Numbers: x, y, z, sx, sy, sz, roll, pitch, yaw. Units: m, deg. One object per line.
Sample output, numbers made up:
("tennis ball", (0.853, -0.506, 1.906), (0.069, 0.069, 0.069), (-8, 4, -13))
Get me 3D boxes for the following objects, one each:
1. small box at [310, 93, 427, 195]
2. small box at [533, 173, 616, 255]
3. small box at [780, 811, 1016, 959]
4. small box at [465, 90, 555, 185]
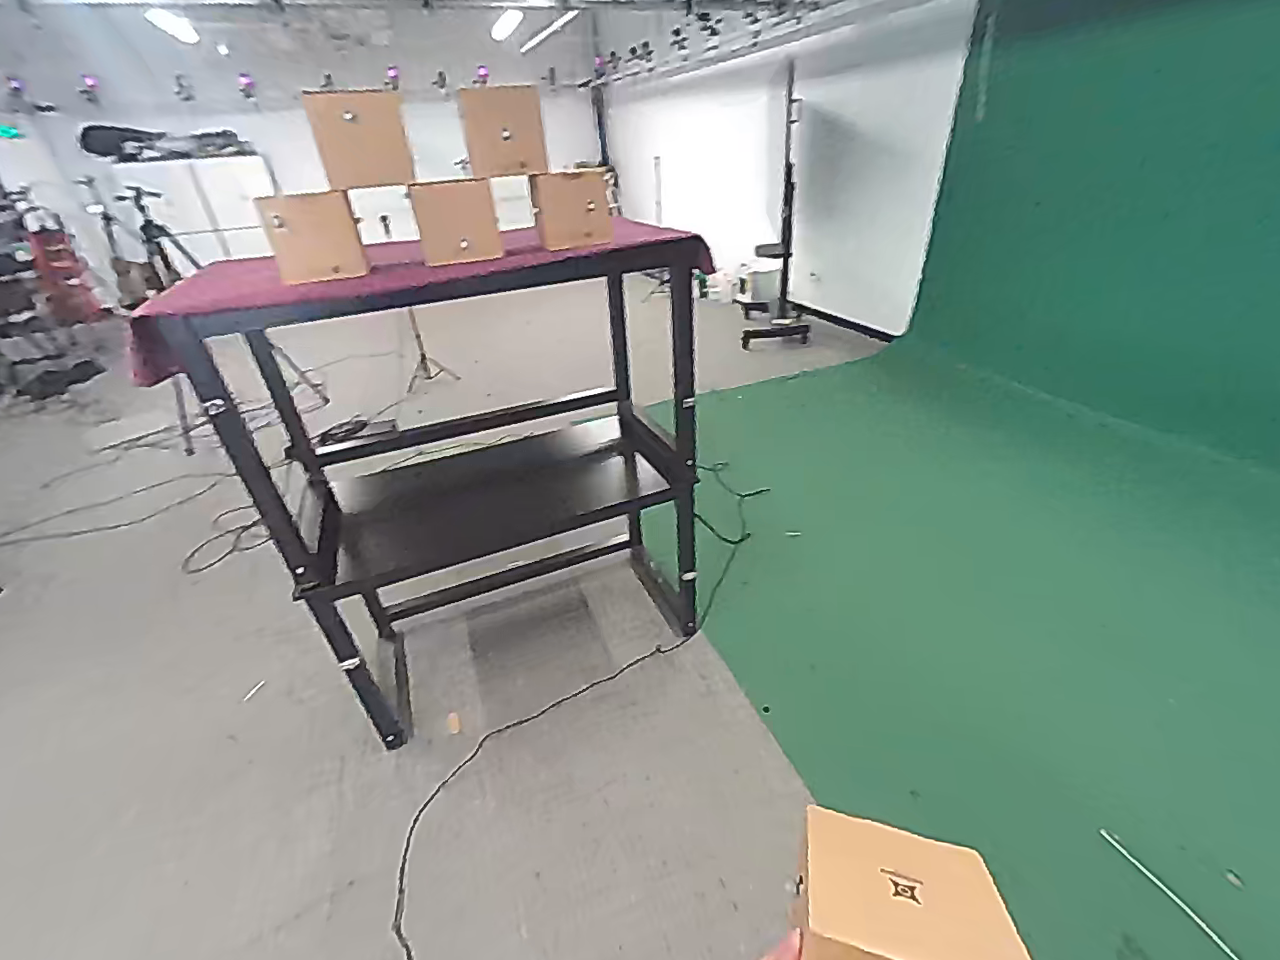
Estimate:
("small box", (-0.567, -0.707, 1.151), (0.179, 0.176, 0.168), (-13, 31, -16))
("small box", (-0.163, -0.668, 1.361), (0.168, 0.176, 0.179), (-12, 31, -14))
("small box", (0.209, 0.438, 0.468), (0.168, 0.176, 0.179), (7, 0, 16))
("small box", (-0.297, -0.780, 1.241), (0.168, 0.176, 0.179), (-12, 32, -14))
